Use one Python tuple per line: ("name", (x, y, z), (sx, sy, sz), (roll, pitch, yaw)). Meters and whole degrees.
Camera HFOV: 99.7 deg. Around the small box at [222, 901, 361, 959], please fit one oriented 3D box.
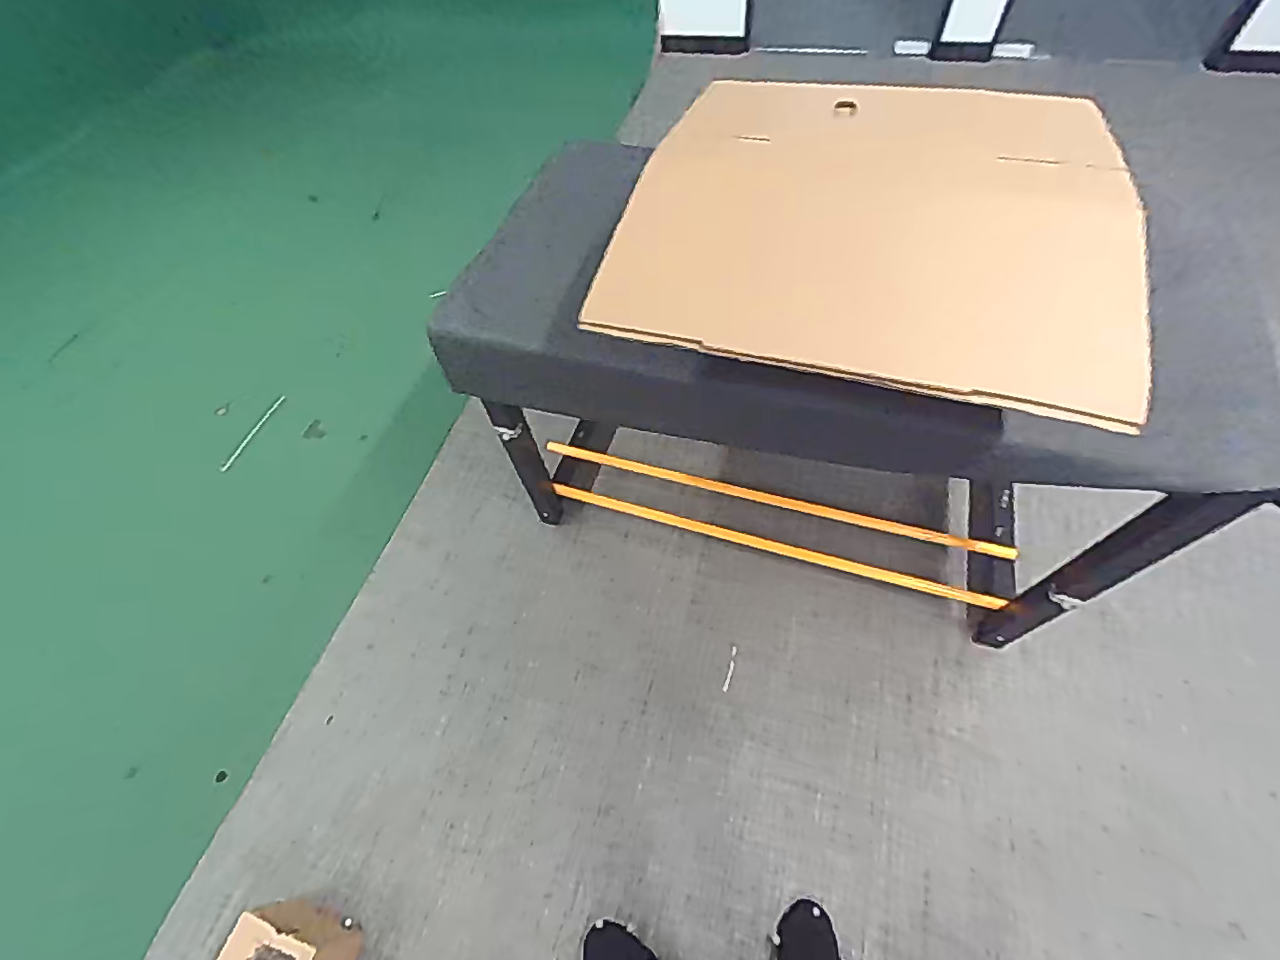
("small box", (-0.646, 0.904, 0.980), (0.168, 0.176, 0.179), (14, 62, 14))
